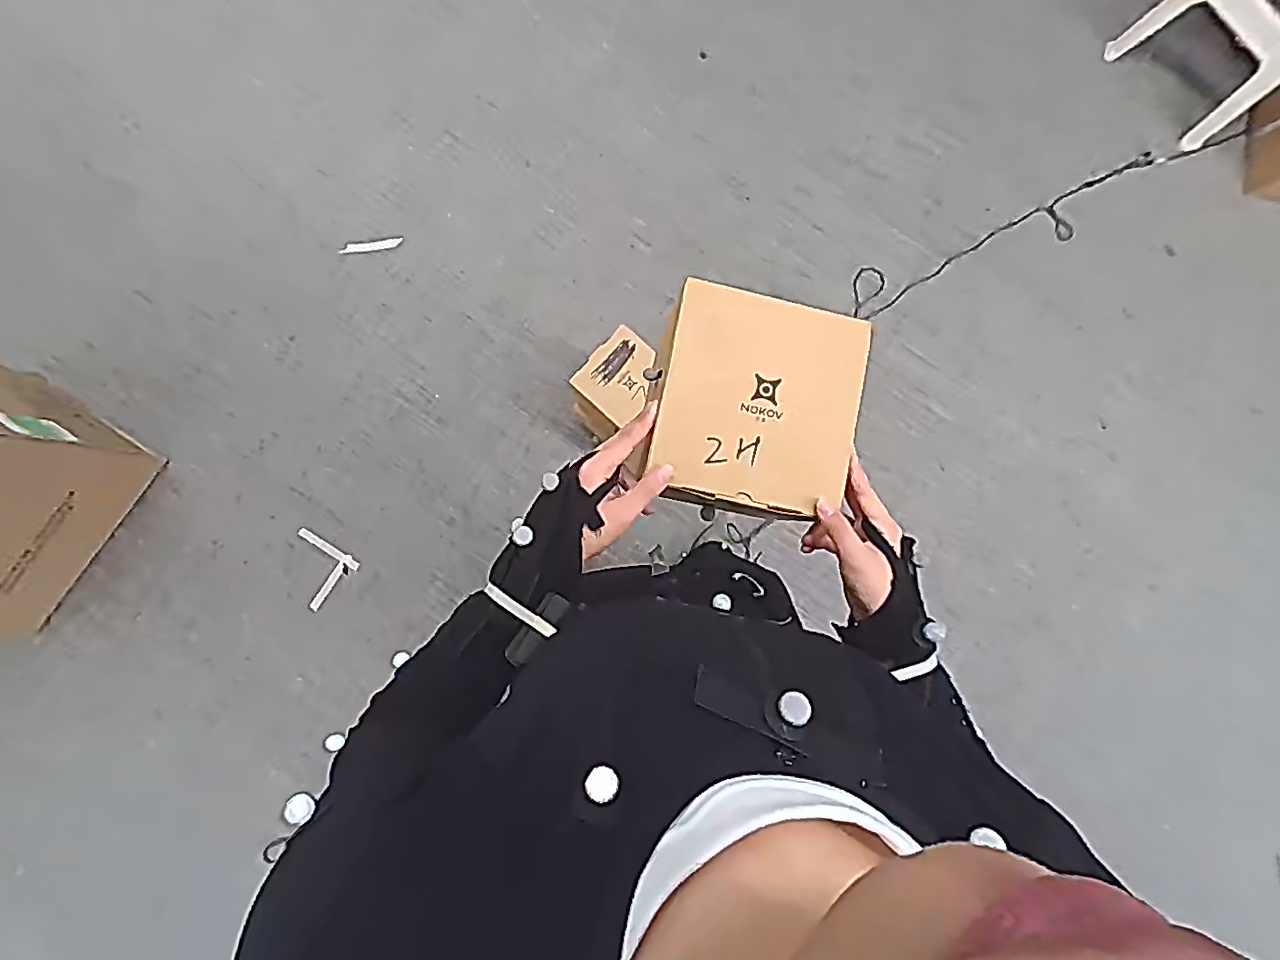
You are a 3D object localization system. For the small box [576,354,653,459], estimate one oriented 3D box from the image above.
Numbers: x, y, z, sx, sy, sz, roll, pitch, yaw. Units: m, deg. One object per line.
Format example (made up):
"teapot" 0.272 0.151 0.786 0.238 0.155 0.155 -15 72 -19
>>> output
"small box" -0.037 -0.170 1.318 0.168 0.176 0.179 42 86 1

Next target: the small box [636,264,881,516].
"small box" 0.096 -0.067 0.512 0.168 0.176 0.179 12 85 -4
